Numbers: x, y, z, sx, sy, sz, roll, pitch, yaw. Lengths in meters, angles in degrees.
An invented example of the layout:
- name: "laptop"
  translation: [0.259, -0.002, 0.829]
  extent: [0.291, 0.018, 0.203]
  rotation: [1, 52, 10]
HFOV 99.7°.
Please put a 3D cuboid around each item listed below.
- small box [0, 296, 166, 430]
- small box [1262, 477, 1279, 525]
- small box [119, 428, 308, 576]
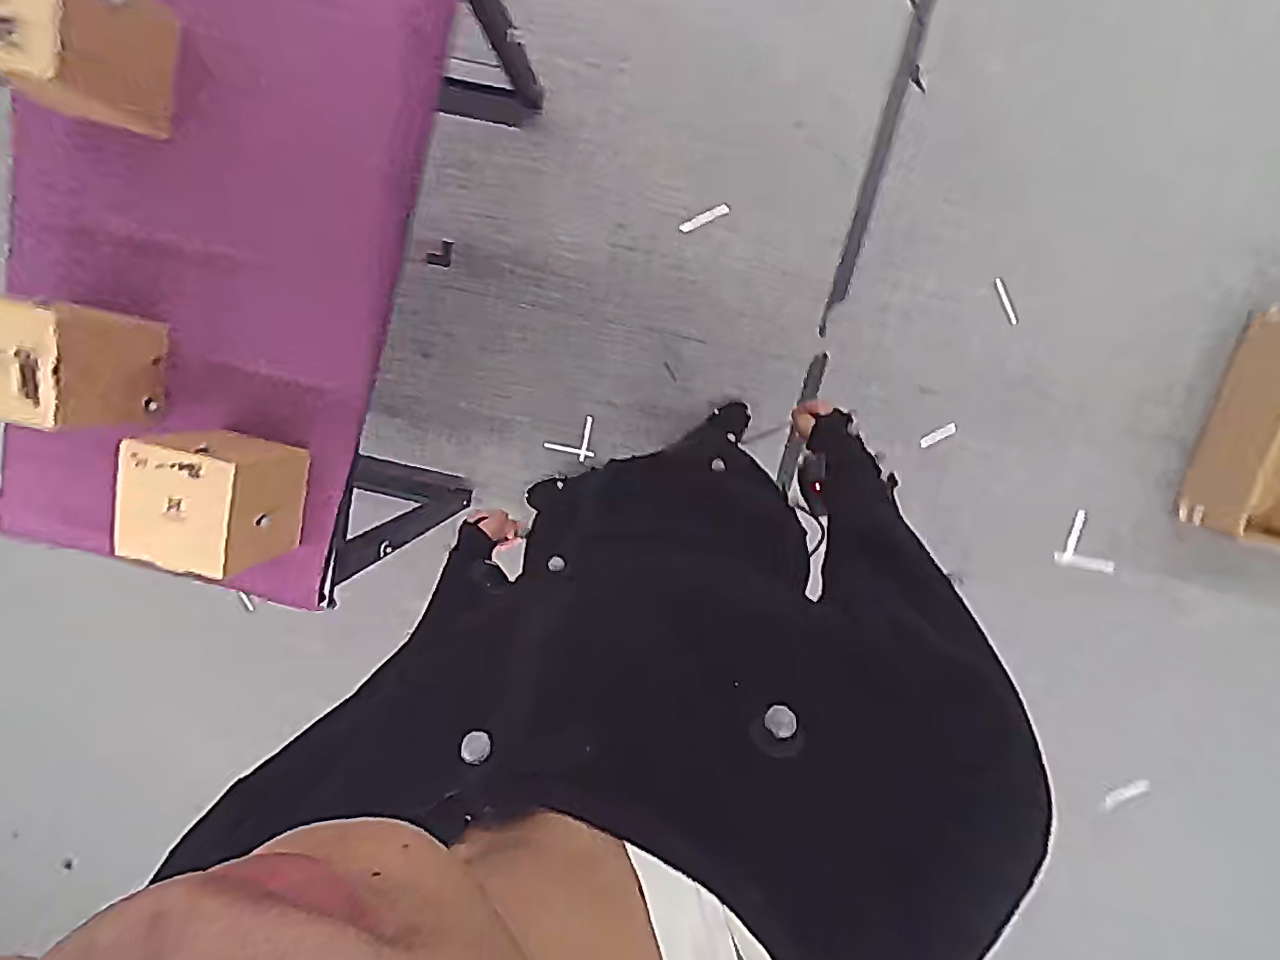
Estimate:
- name: "small box"
  translation: [-0.881, -0.181, 0.828]
  extent: [0.179, 0.176, 0.168]
  rotation: [12, 100, 1]
- name: "small box"
  translation: [1.811, 0.066, 1.398]
  extent: [0.179, 0.176, 0.168]
  rotation: [13, 100, 4]
- name: "small box"
  translation: [-0.656, 0.025, 0.849]
  extent: [0.168, 0.176, 0.179]
  rotation: [13, 101, 1]
